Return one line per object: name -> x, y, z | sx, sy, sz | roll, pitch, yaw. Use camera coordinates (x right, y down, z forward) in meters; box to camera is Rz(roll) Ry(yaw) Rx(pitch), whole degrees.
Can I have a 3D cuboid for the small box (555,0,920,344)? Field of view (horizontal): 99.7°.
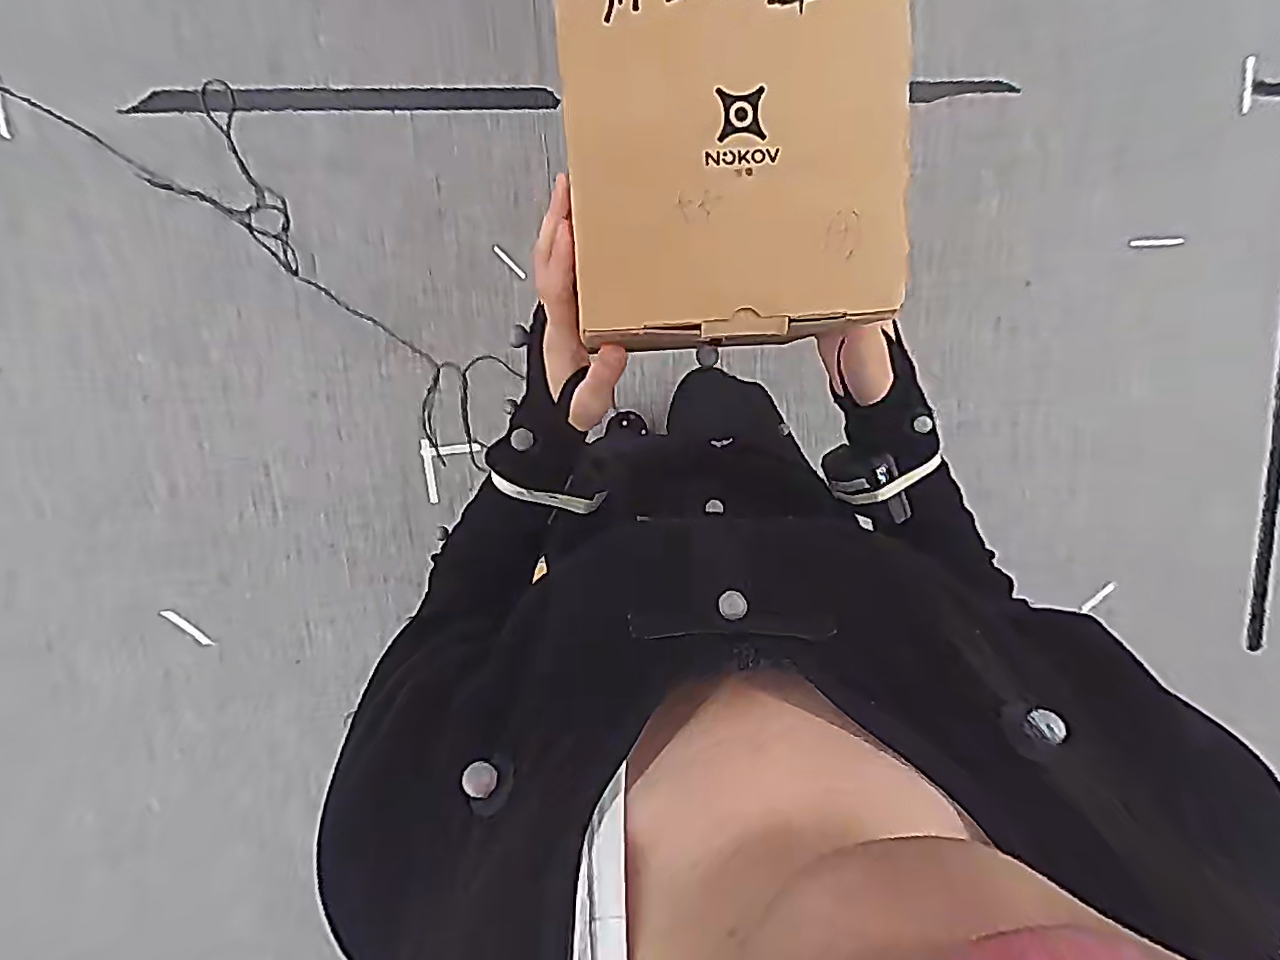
small box -> 0.041, -0.176, 0.328 | 0.168, 0.176, 0.179 | -4, 101, -4
